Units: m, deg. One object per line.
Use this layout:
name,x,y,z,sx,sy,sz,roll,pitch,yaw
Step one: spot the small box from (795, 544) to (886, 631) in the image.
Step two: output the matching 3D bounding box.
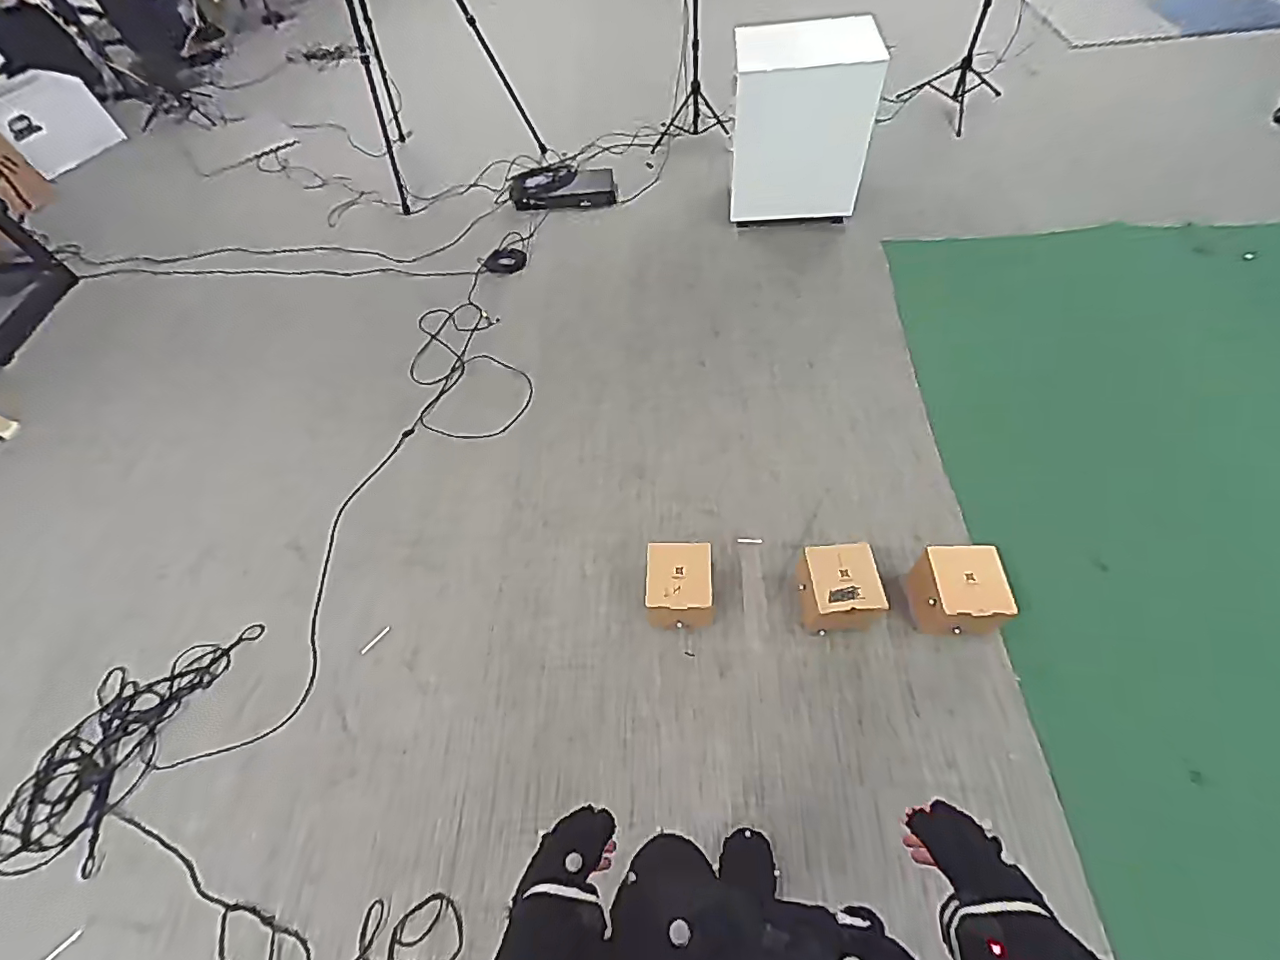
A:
small box,0.507,0.283,1.395,0.168,0.176,0.179,-4,56,2

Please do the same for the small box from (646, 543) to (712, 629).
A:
small box,0.107,0.281,1.434,0.168,0.176,0.179,-1,58,7

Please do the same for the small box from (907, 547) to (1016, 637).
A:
small box,0.799,0.284,1.367,0.168,0.176,0.179,-2,57,6
